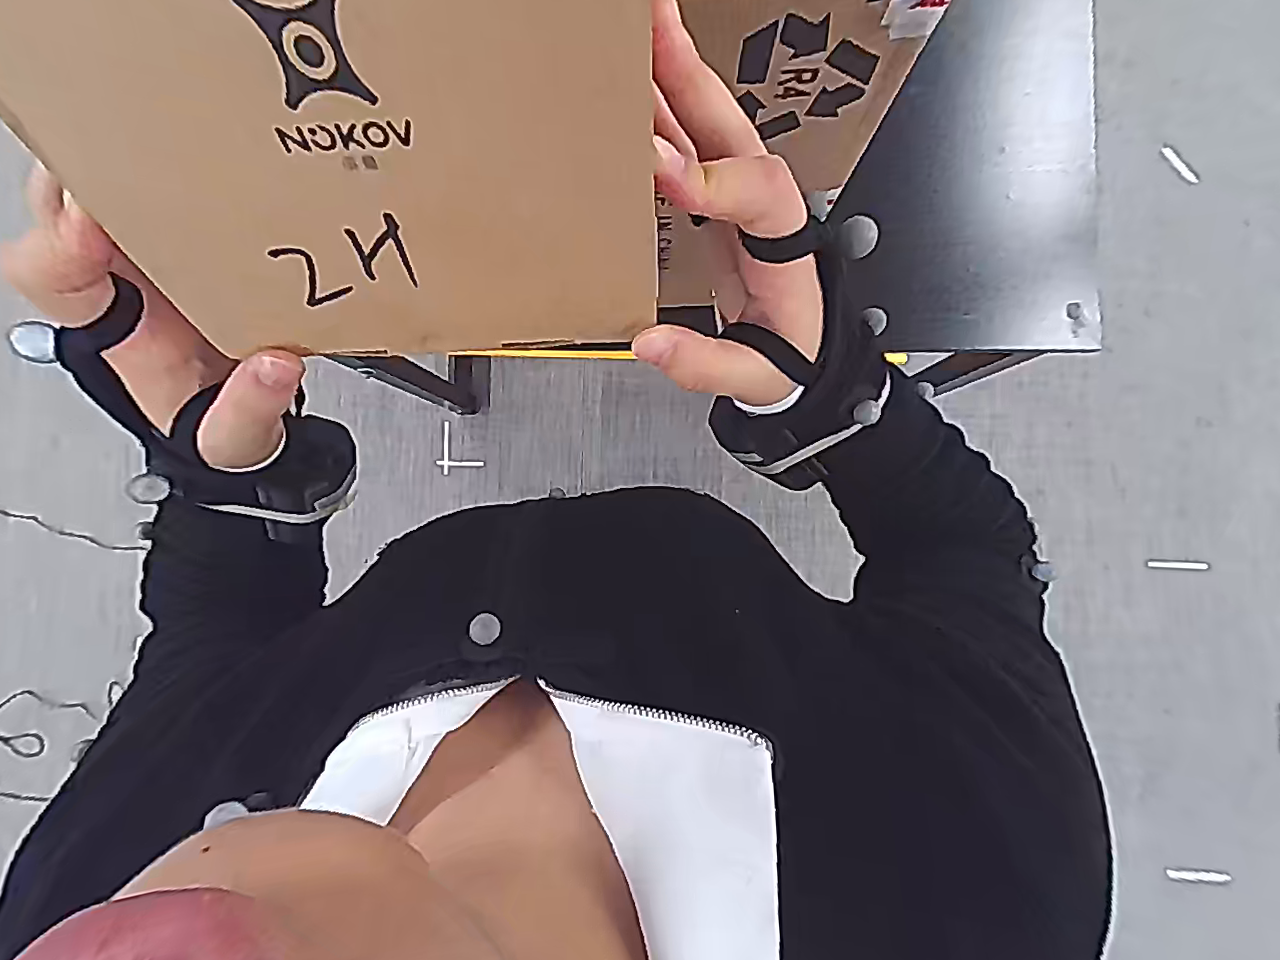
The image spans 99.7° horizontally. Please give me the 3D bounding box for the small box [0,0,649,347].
[{"bbox_3d":[-0.083,-0.170,0.182,0.168,0.179,0.176,-2,57,1],"label":"small box"}]
